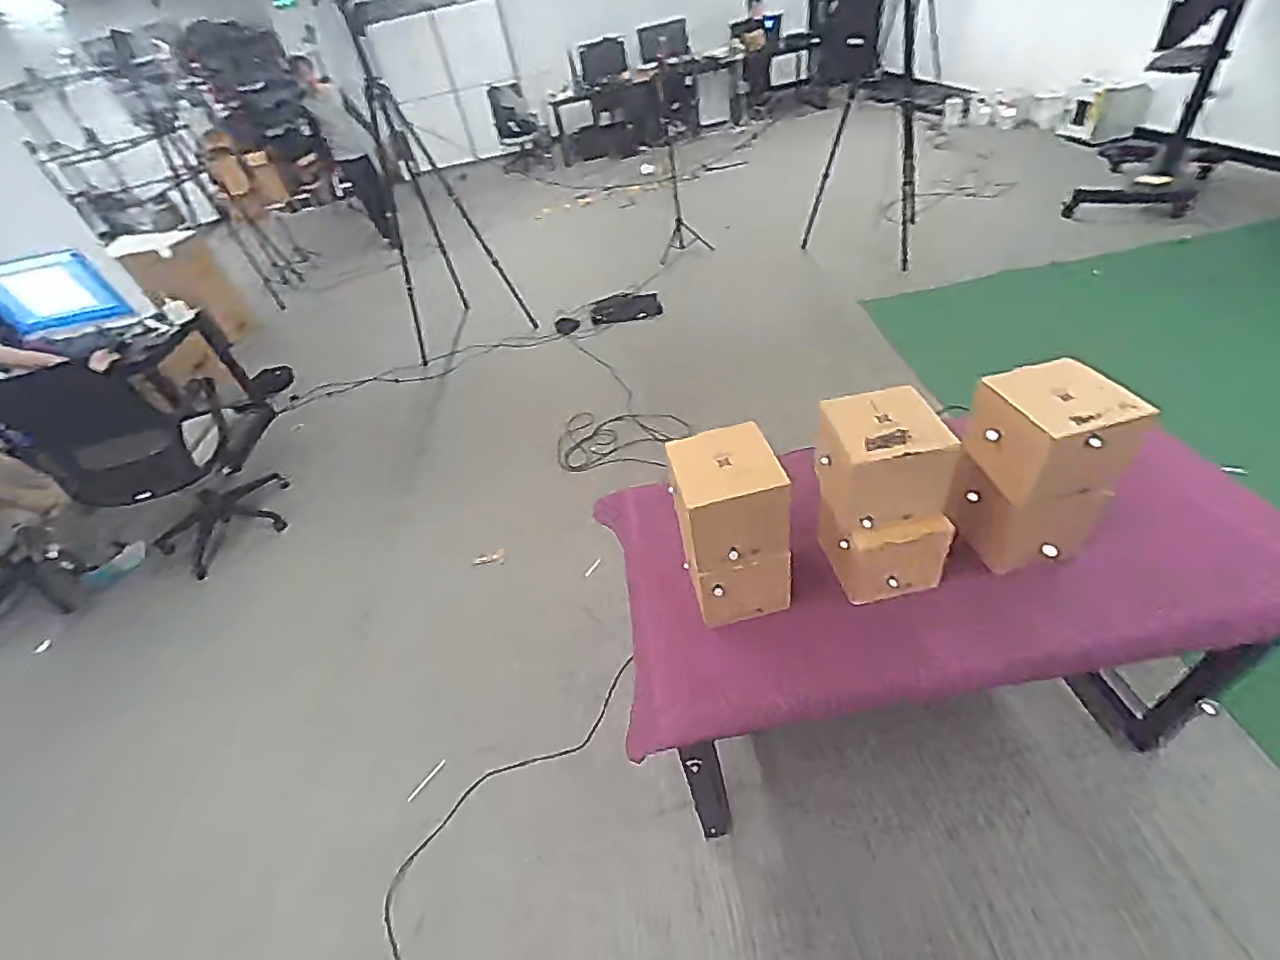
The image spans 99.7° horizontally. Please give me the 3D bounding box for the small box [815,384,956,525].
[{"bbox_3d":[0.411,-0.038,0.940,0.168,0.176,0.179,-10,42,3],"label":"small box"}]

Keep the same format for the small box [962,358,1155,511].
[{"bbox_3d":[0.682,-0.076,0.911,0.168,0.176,0.179,-15,41,-1],"label":"small box"}]

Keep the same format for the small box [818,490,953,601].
[{"bbox_3d":[0.449,0.100,1.026,0.168,0.176,0.179,-13,42,0],"label":"small box"}]

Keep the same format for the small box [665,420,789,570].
[{"bbox_3d":[0.146,0.026,0.933,0.168,0.176,0.179,-14,41,0],"label":"small box"}]

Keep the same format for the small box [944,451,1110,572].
[{"bbox_3d":[0.708,0.044,1.019,0.168,0.176,0.179,-14,42,0],"label":"small box"}]
